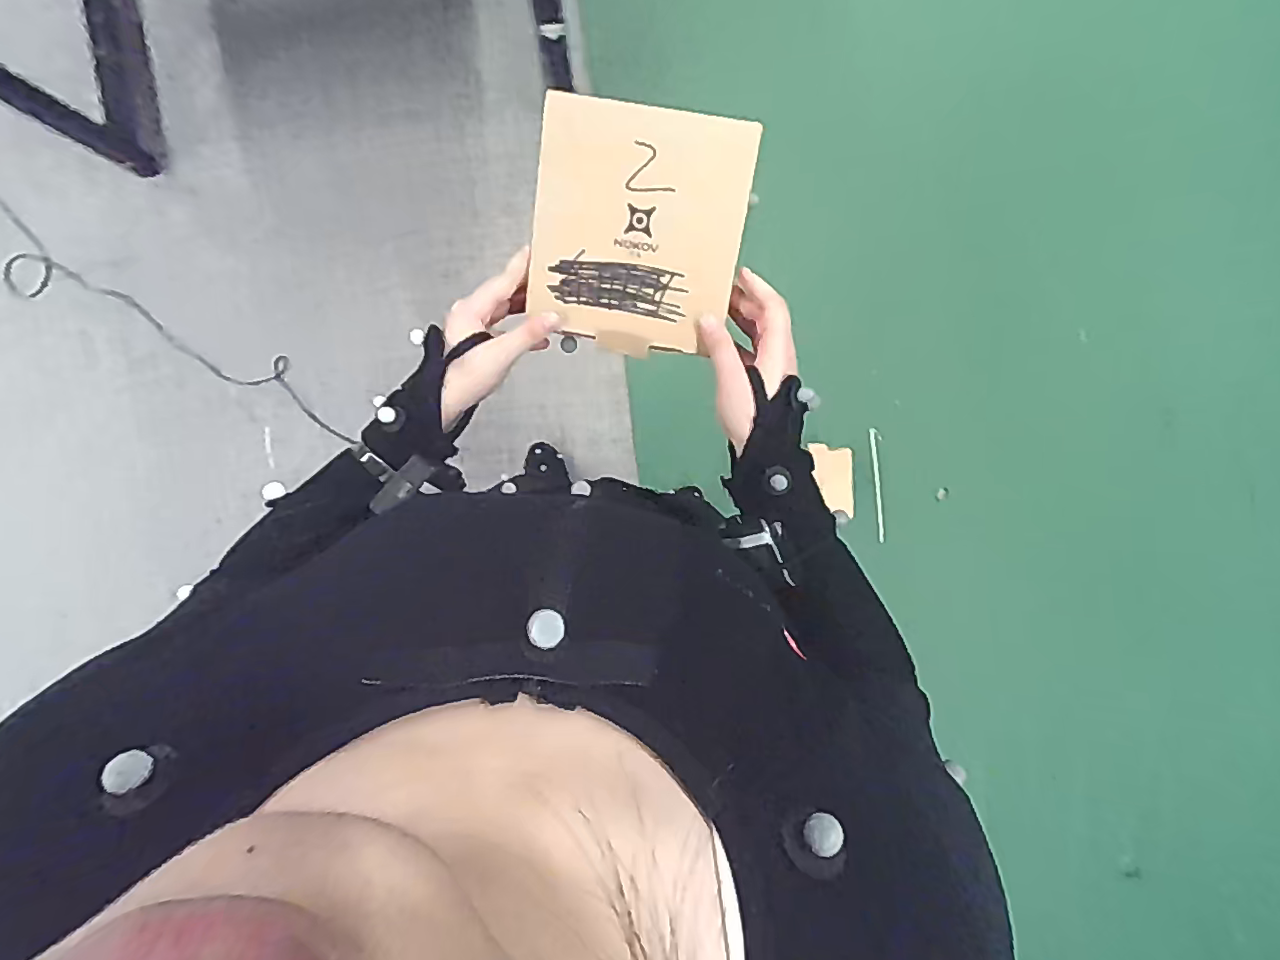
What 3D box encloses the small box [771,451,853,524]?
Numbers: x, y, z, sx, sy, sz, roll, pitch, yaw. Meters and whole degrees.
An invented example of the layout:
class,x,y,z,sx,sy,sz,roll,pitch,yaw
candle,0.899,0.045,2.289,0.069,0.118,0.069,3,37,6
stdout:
class,x,y,z,sx,sy,sz,roll,pitch,yaw
small box,0.441,0.015,1.404,0.168,0.176,0.179,-3,93,0
